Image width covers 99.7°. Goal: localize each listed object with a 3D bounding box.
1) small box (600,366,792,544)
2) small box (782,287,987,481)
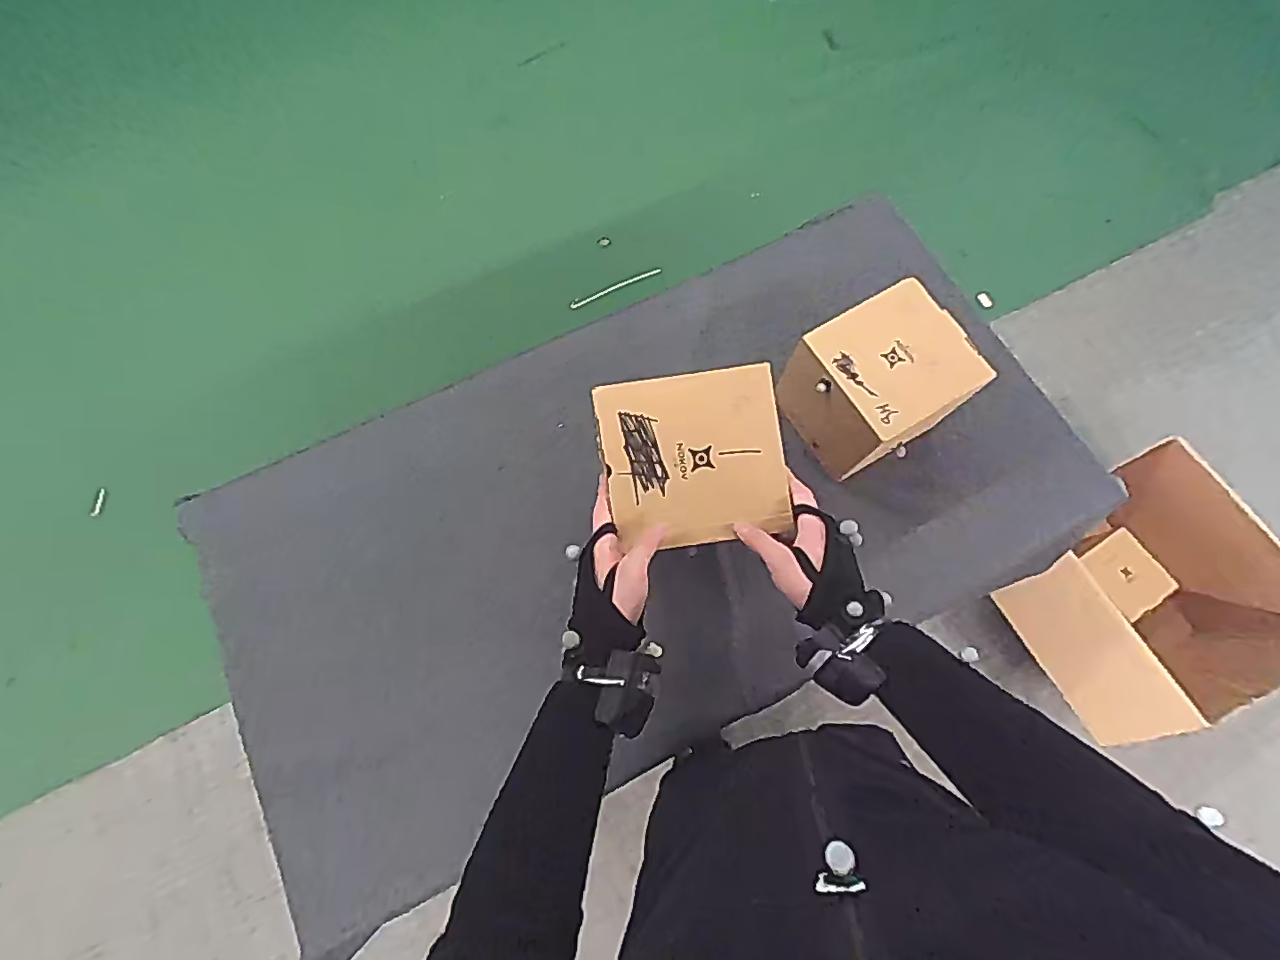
[{"bbox_3d":[0.057,-0.021,0.594,0.179,0.176,0.168,-4,89,3],"label":"small box"},{"bbox_3d":[0.317,-0.123,0.752,0.179,0.176,0.168,-31,77,-8],"label":"small box"}]
